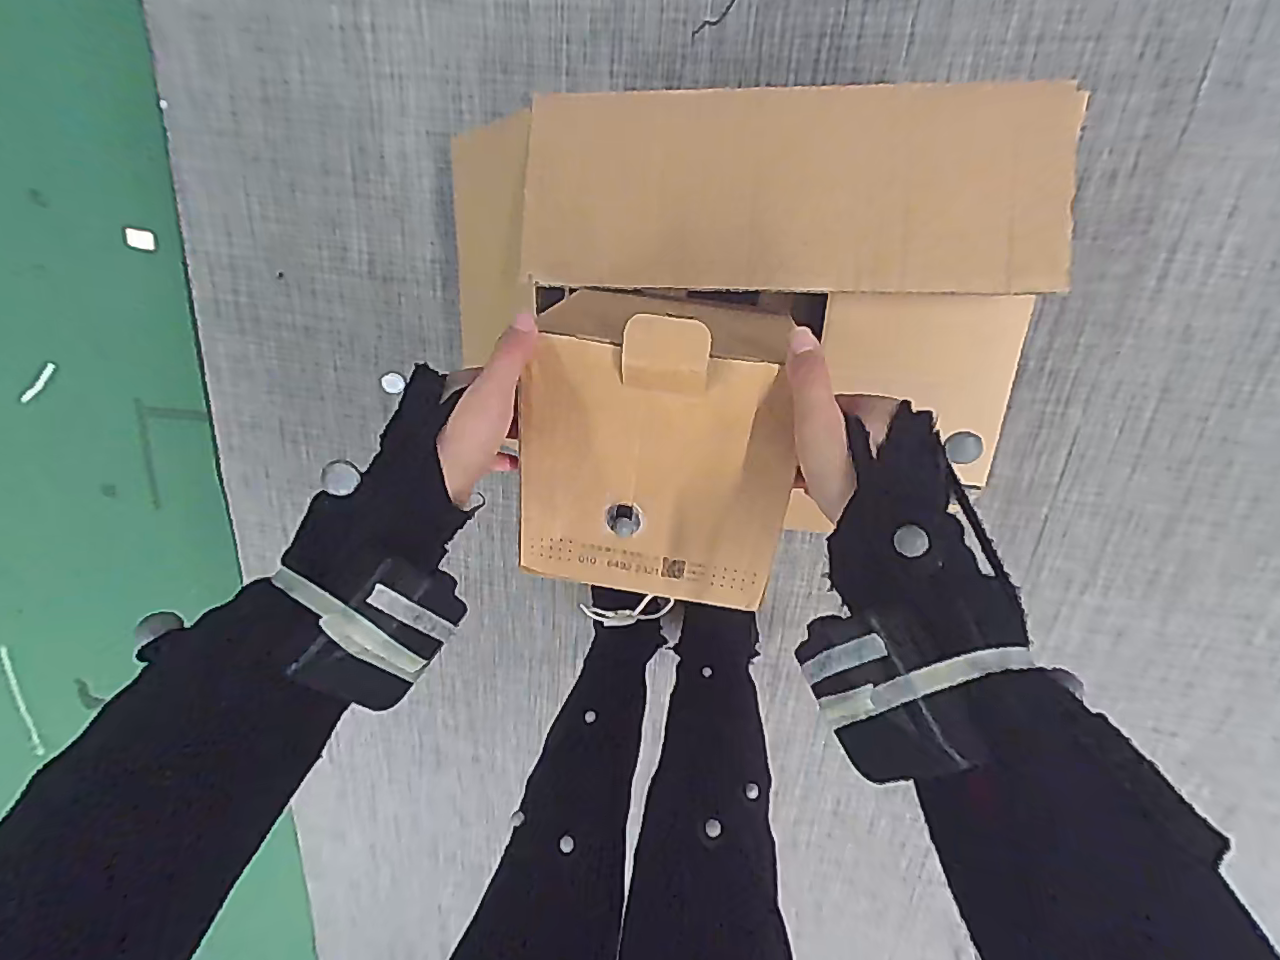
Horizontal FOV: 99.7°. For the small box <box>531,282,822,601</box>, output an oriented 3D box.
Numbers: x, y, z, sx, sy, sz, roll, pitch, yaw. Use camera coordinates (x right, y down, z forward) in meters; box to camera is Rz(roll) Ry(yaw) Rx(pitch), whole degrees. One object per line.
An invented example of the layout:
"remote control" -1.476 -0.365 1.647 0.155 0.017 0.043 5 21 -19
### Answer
"small box" 0.019 -0.039 0.403 0.168 0.179 0.176 9 118 3
